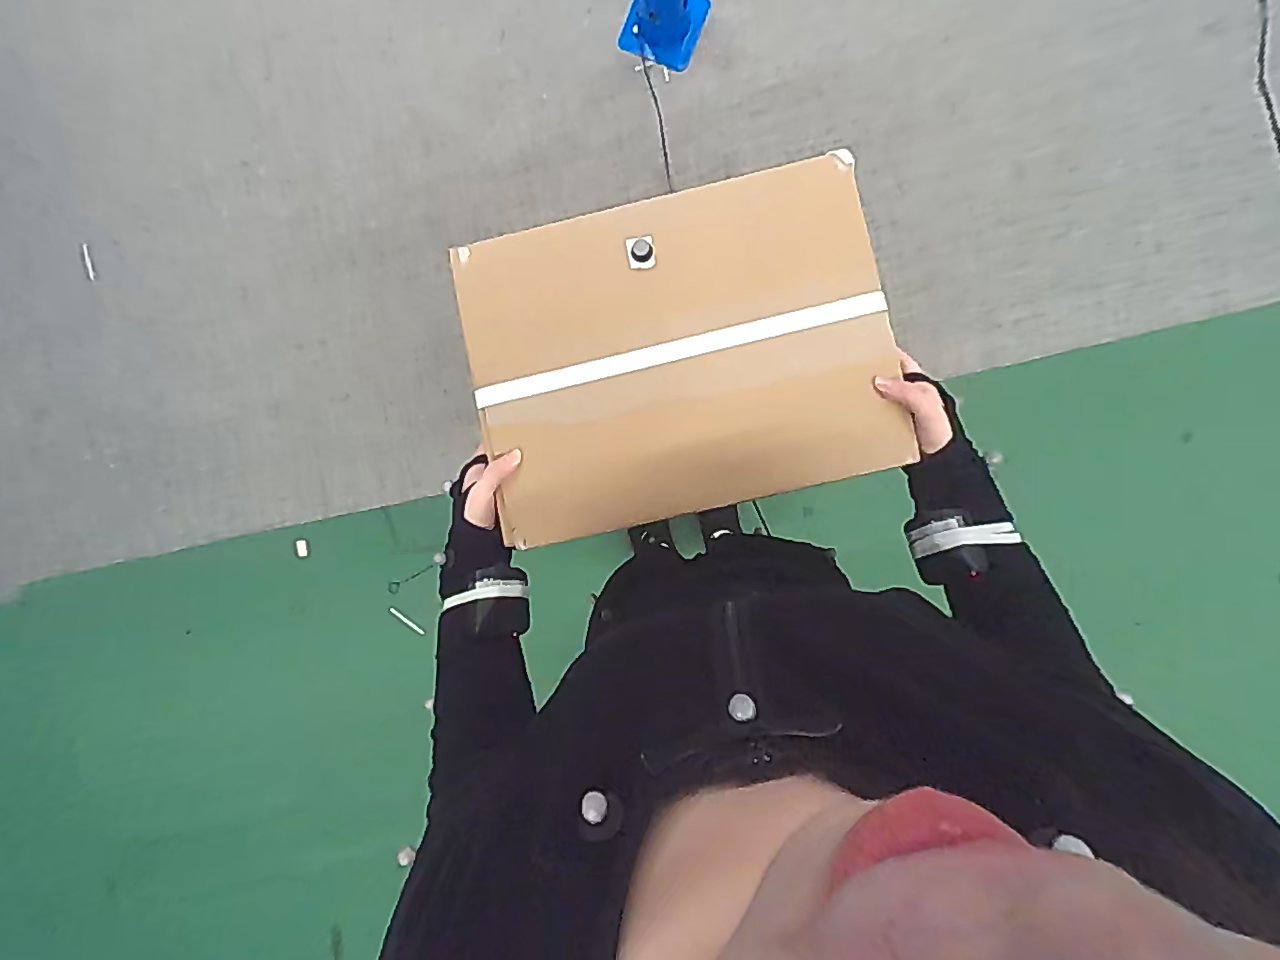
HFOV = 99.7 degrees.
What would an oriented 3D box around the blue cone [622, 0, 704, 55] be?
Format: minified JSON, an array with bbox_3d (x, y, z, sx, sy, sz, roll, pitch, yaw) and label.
[{"bbox_3d":[0.049,-1.206,1.244,0.192,0.380,0.193,20,95,3],"label":"blue cone"}]
